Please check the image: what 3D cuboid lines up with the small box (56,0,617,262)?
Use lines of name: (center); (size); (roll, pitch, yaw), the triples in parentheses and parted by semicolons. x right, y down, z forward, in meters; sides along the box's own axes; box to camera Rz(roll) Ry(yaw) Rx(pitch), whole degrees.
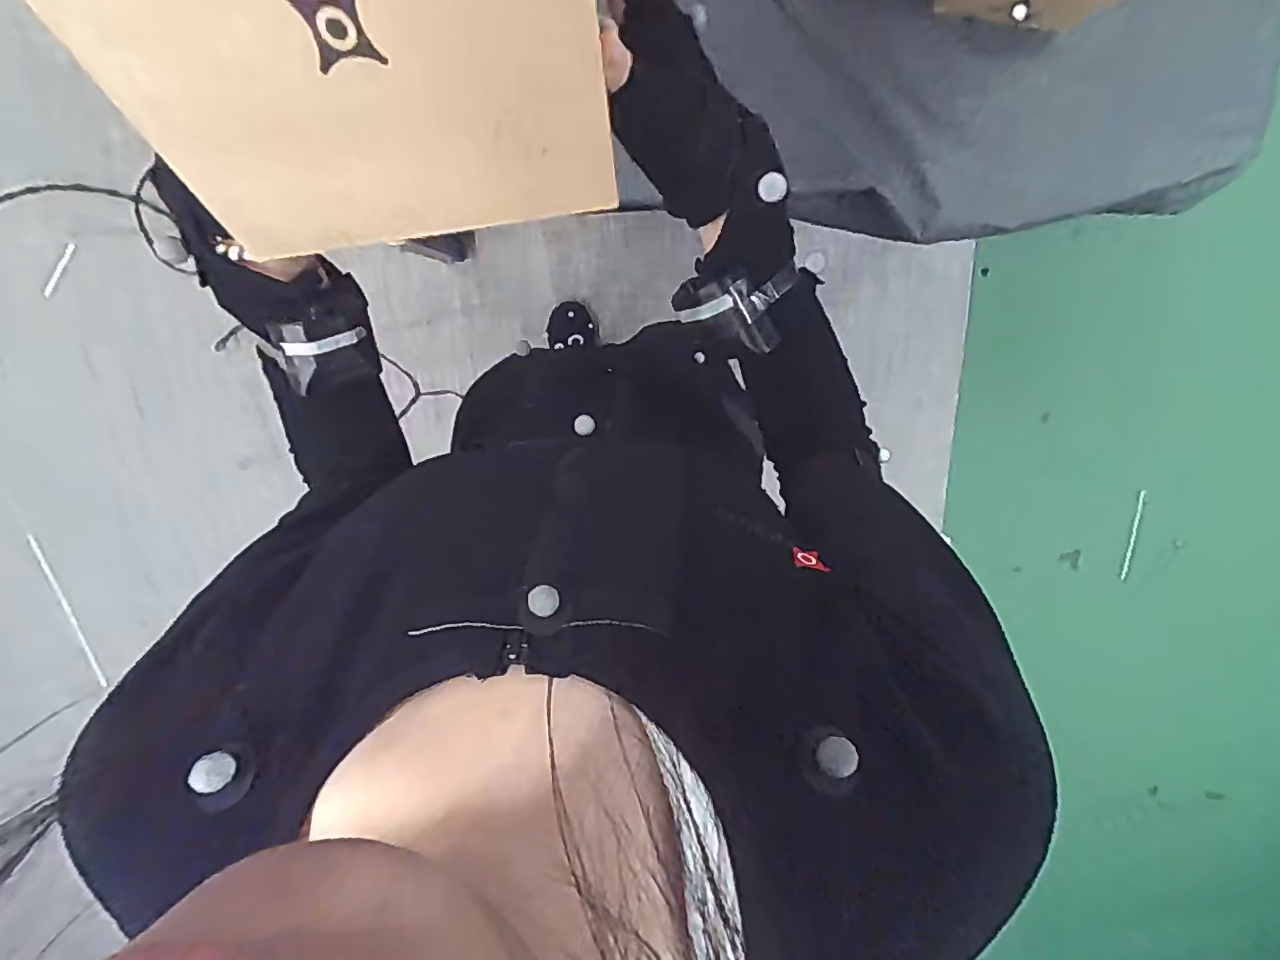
small box: (-0.105, -0.222, 0.211); (0.168, 0.176, 0.179); (-10, 152, -1)
